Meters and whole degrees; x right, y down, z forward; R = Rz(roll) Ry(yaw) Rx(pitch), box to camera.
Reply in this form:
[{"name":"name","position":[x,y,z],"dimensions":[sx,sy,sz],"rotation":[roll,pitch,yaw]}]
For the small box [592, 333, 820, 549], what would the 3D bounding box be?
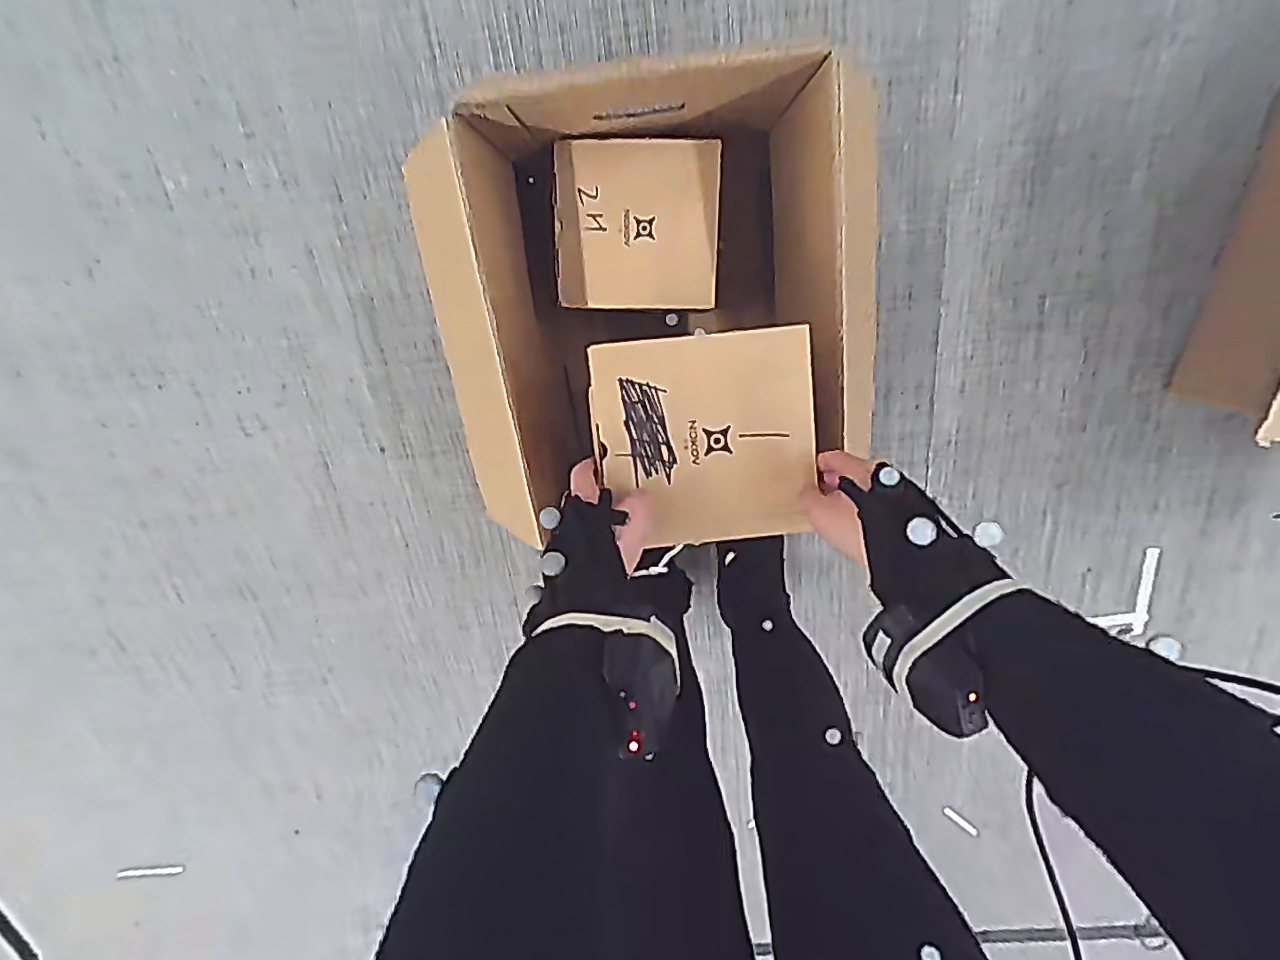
[{"name":"small box","position":[0.057,-0.037,0.513],"dimensions":[0.179,0.176,0.168],"rotation":[-5,97,2]}]
